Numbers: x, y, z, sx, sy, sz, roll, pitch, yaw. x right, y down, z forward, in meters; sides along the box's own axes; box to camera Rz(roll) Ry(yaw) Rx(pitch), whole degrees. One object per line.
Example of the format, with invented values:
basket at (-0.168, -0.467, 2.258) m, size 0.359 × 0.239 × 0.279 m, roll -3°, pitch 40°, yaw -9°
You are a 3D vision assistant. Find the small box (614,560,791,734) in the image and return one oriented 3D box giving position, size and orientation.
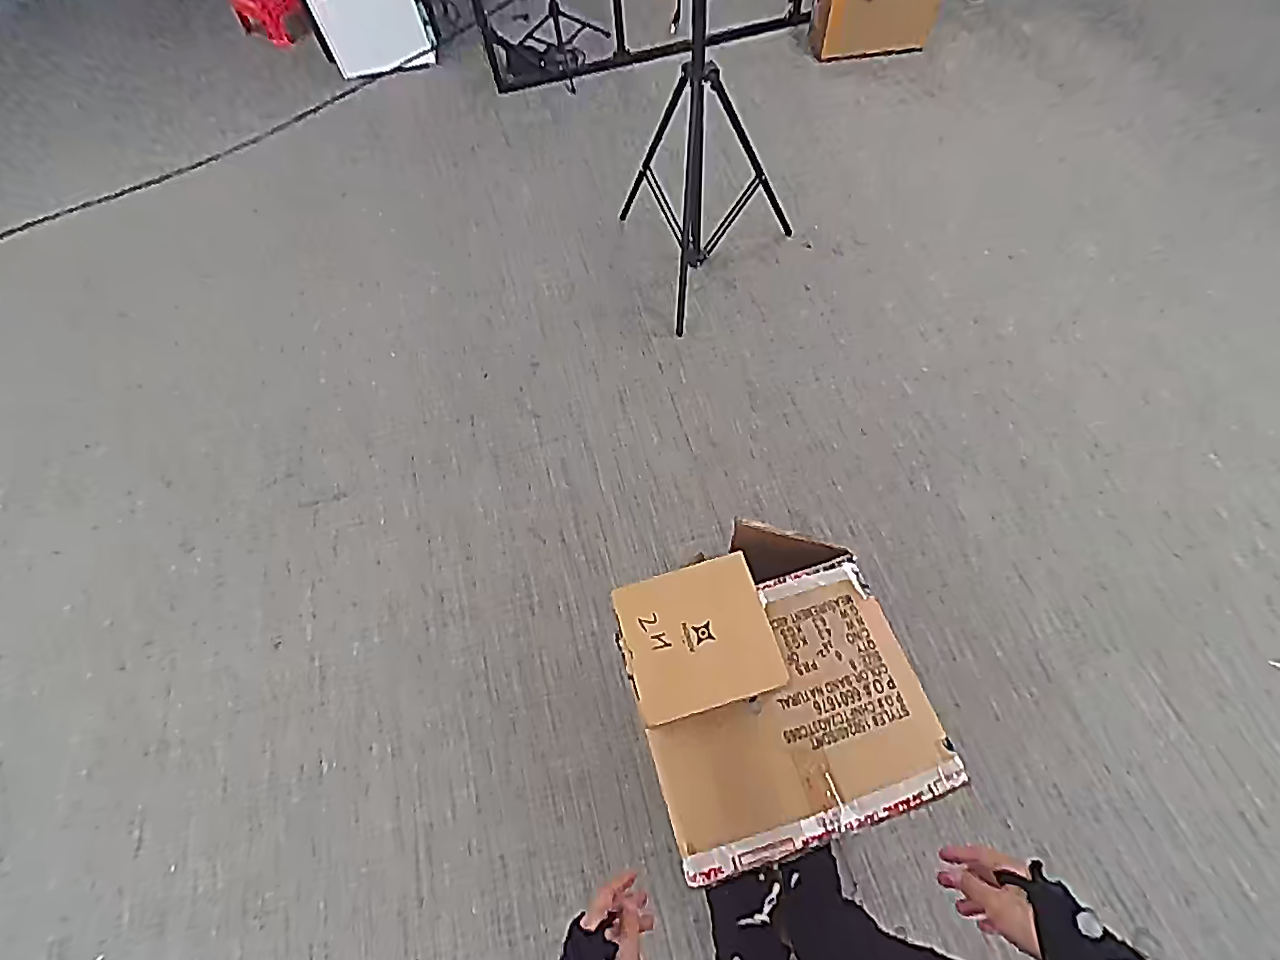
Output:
small box at (0.077, 0.226, 0.717) m, size 0.179 × 0.176 × 0.168 m, roll -17°, pitch 63°, yaw -1°
